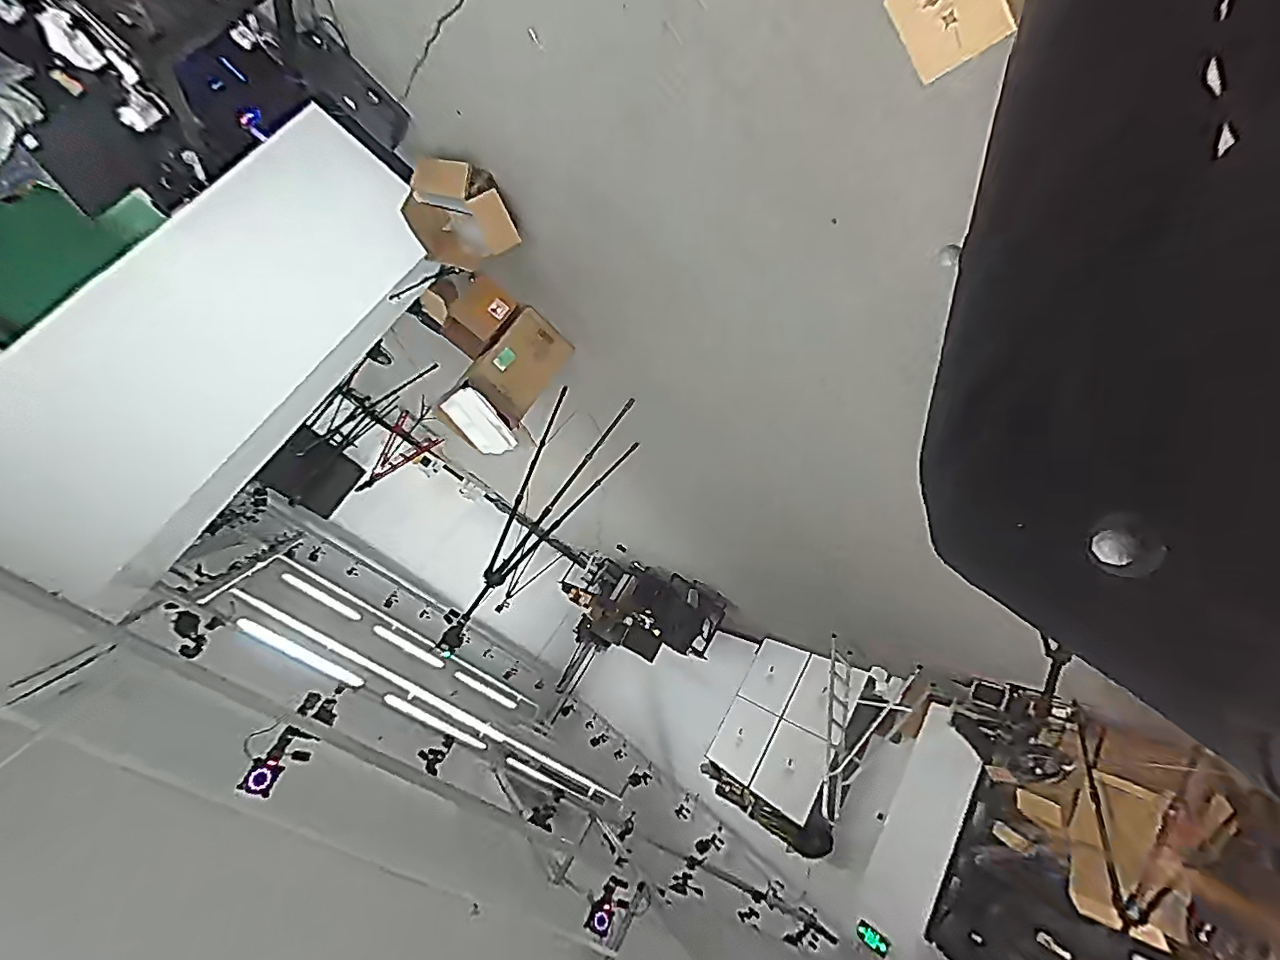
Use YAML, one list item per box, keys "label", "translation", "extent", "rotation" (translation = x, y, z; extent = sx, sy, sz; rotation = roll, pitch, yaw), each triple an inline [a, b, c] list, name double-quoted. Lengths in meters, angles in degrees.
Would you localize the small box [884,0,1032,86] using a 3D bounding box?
- label: "small box"
  translation: [0.579, -0.877, 0.969]
  extent: [0.179, 0.176, 0.168]
  rotation: [40, 161, -26]
